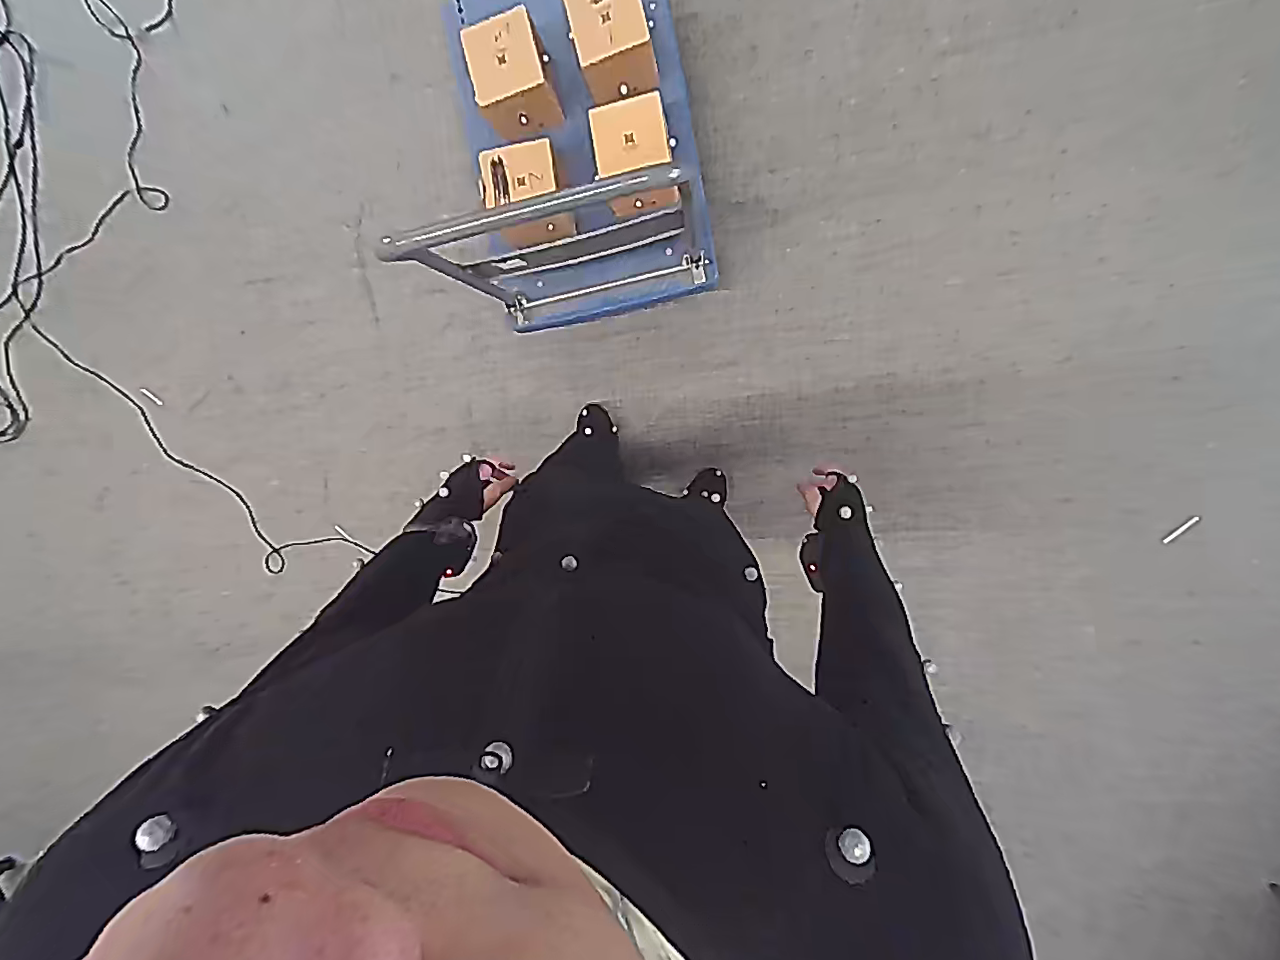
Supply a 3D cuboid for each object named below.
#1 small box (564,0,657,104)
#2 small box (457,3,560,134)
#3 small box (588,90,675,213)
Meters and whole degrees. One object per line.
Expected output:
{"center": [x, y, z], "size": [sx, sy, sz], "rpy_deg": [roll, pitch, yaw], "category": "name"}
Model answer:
{"center": [-0.066, -1.031, 1.256], "size": [0.168, 0.176, 0.179], "rpy_deg": [-13, 95, 11], "category": "small box"}
{"center": [-0.306, -0.970, 1.301], "size": [0.168, 0.176, 0.179], "rpy_deg": [-14, 94, 9], "category": "small box"}
{"center": [-0.015, -0.766, 1.280], "size": [0.168, 0.176, 0.179], "rpy_deg": [-9, 96, 10], "category": "small box"}
